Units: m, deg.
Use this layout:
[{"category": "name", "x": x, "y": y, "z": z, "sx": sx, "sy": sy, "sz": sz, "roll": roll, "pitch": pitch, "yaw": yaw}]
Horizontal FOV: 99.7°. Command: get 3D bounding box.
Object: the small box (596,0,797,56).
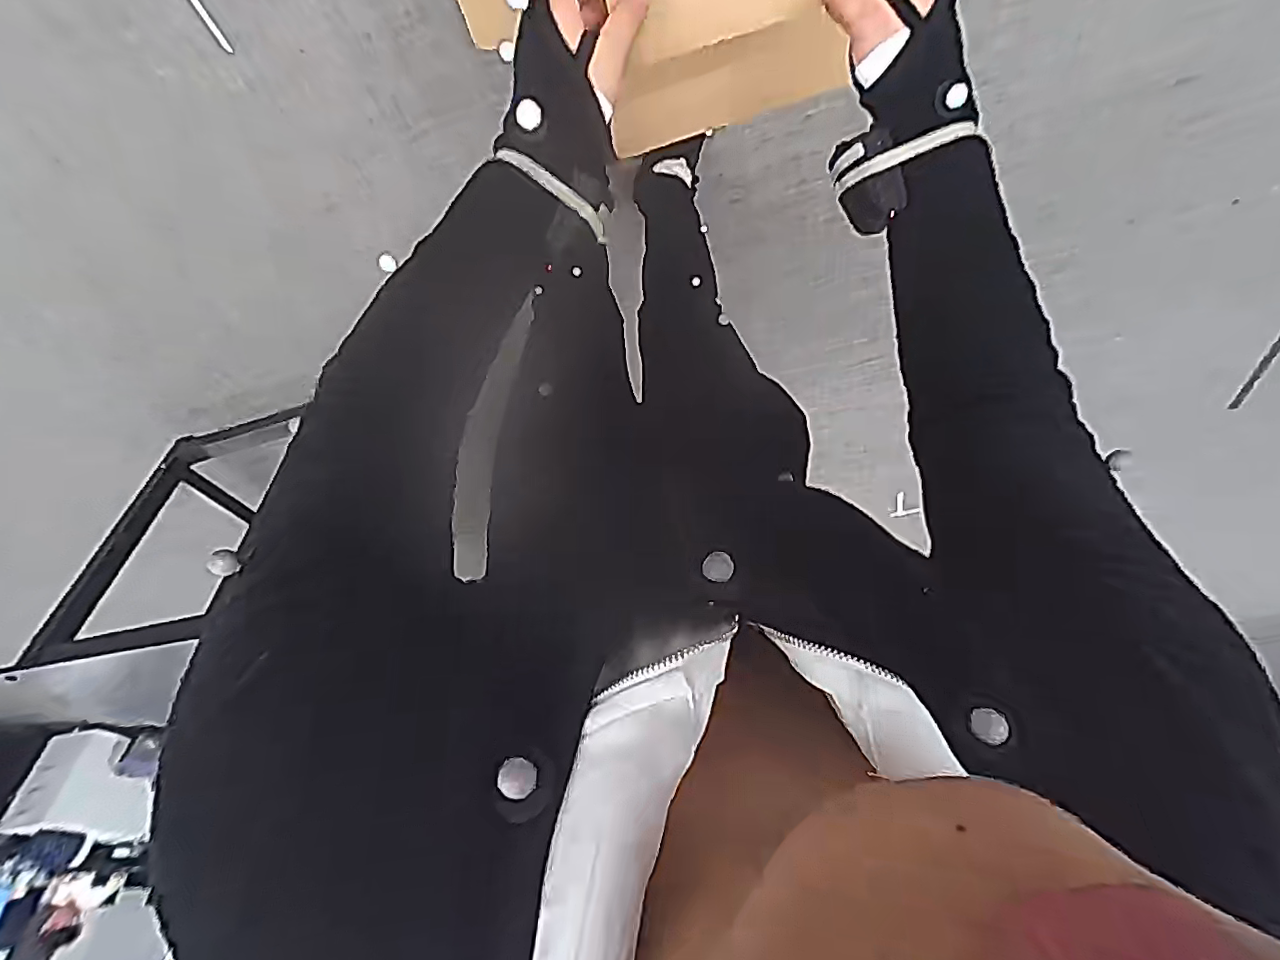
[{"category": "small box", "x": 0.043, "y": -0.457, "z": 0.404, "sx": 0.179, "sy": 0.176, "sz": 0.168, "roll": -9, "pitch": 138, "yaw": 13}]
